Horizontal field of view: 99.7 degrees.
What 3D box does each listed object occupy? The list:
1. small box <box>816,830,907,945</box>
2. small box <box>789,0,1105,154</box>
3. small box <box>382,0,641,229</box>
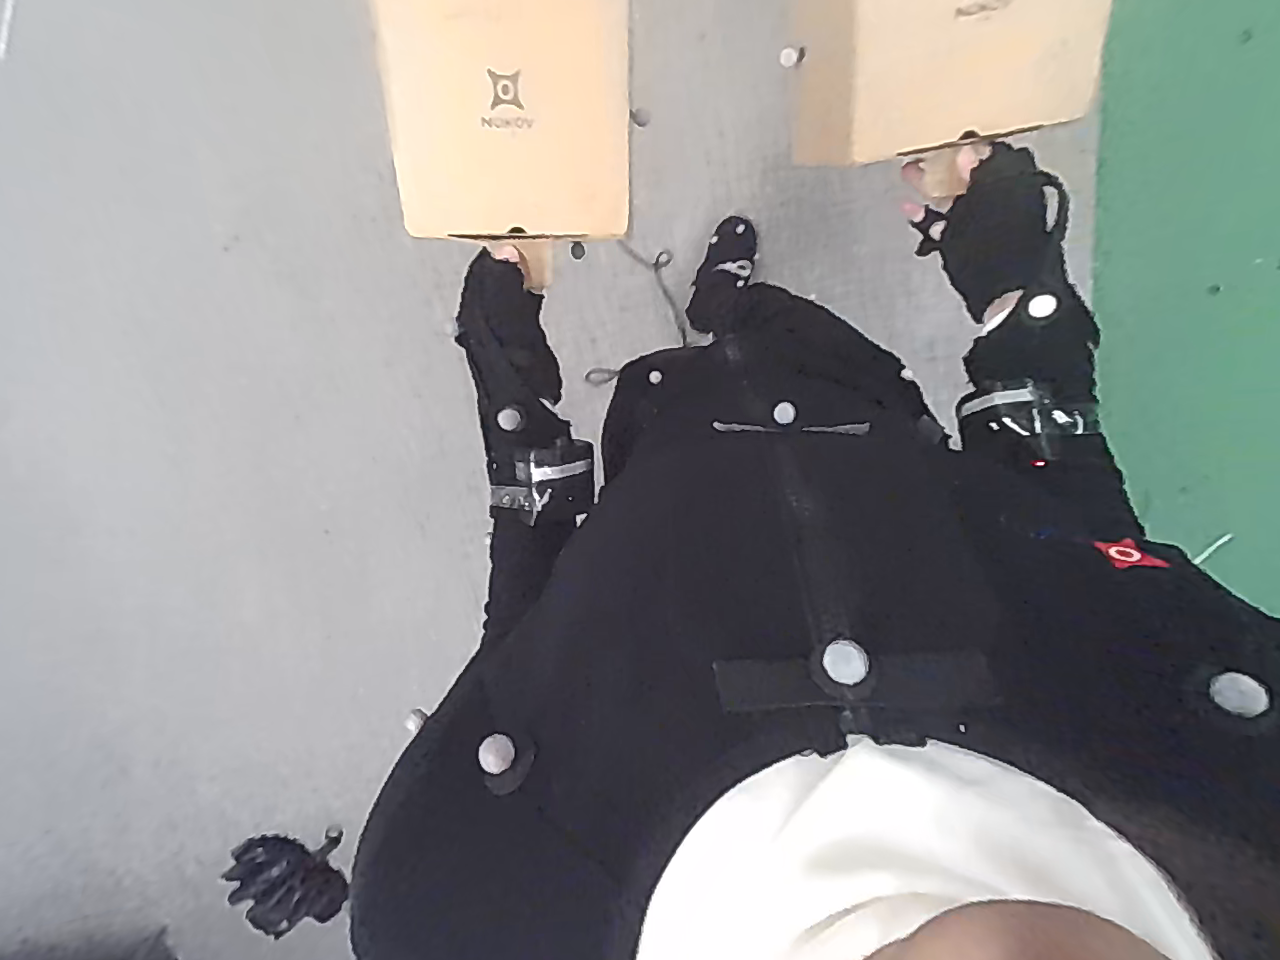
[{"bbox_3d":[0.552,1.024,1.367,0.179,0.176,0.168,-6,105,3],"label":"small box"},{"bbox_3d":[0.219,-0.366,0.417,0.168,0.176,0.179,-10,120,3],"label":"small box"},{"bbox_3d":[-0.083,-0.301,0.436,0.168,0.176,0.179,0,113,0],"label":"small box"}]
